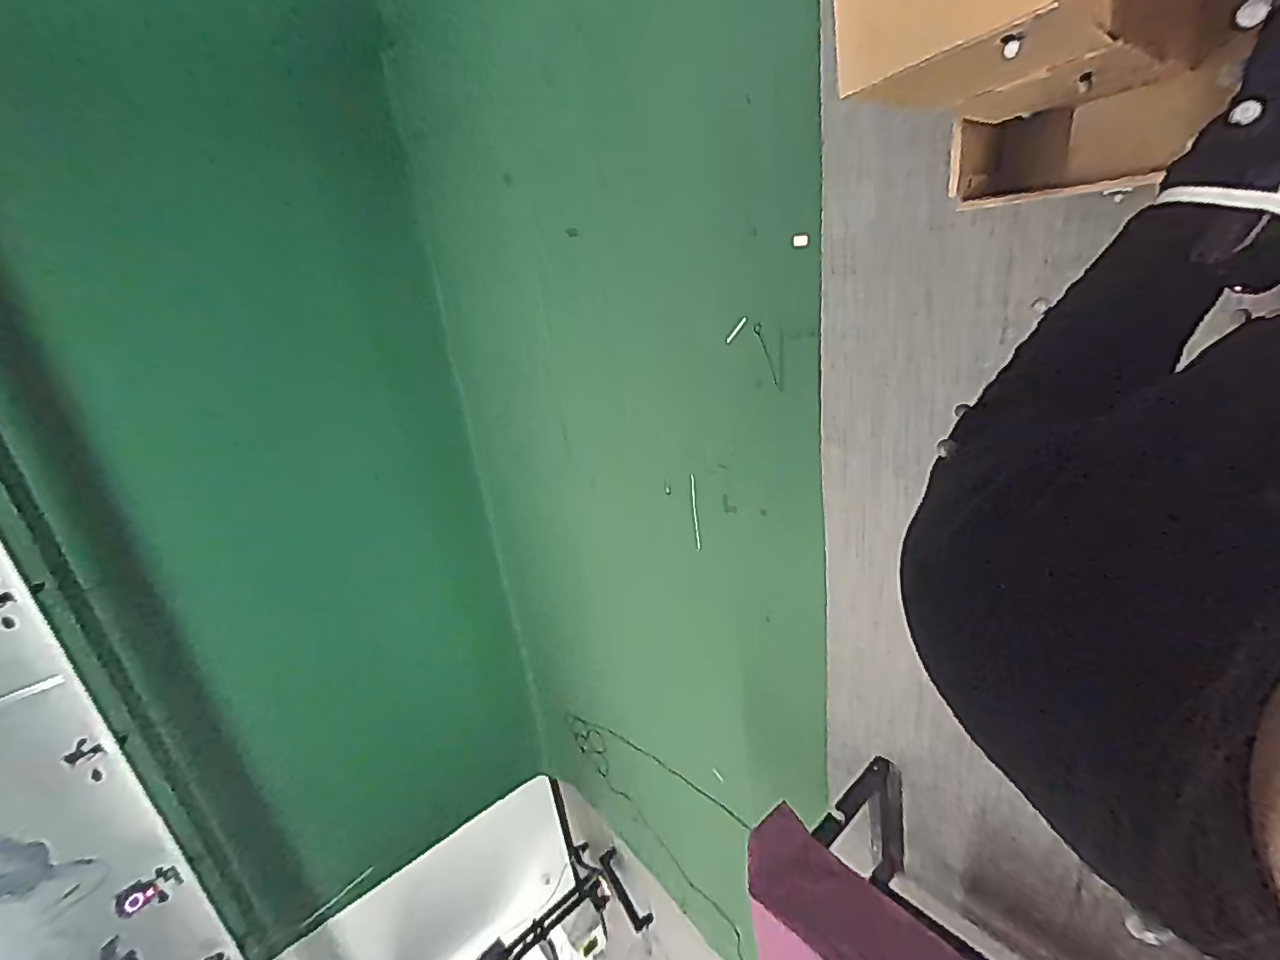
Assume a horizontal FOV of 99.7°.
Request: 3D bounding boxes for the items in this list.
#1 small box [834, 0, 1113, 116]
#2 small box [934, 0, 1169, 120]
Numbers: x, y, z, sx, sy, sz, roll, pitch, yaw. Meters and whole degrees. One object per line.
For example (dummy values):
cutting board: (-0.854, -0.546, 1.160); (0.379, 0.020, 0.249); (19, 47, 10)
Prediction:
small box: (0.296, -0.453, 0.483); (0.179, 0.176, 0.168); (10, 115, 49)
small box: (0.429, -0.499, 0.564); (0.168, 0.176, 0.179); (13, 117, 49)
